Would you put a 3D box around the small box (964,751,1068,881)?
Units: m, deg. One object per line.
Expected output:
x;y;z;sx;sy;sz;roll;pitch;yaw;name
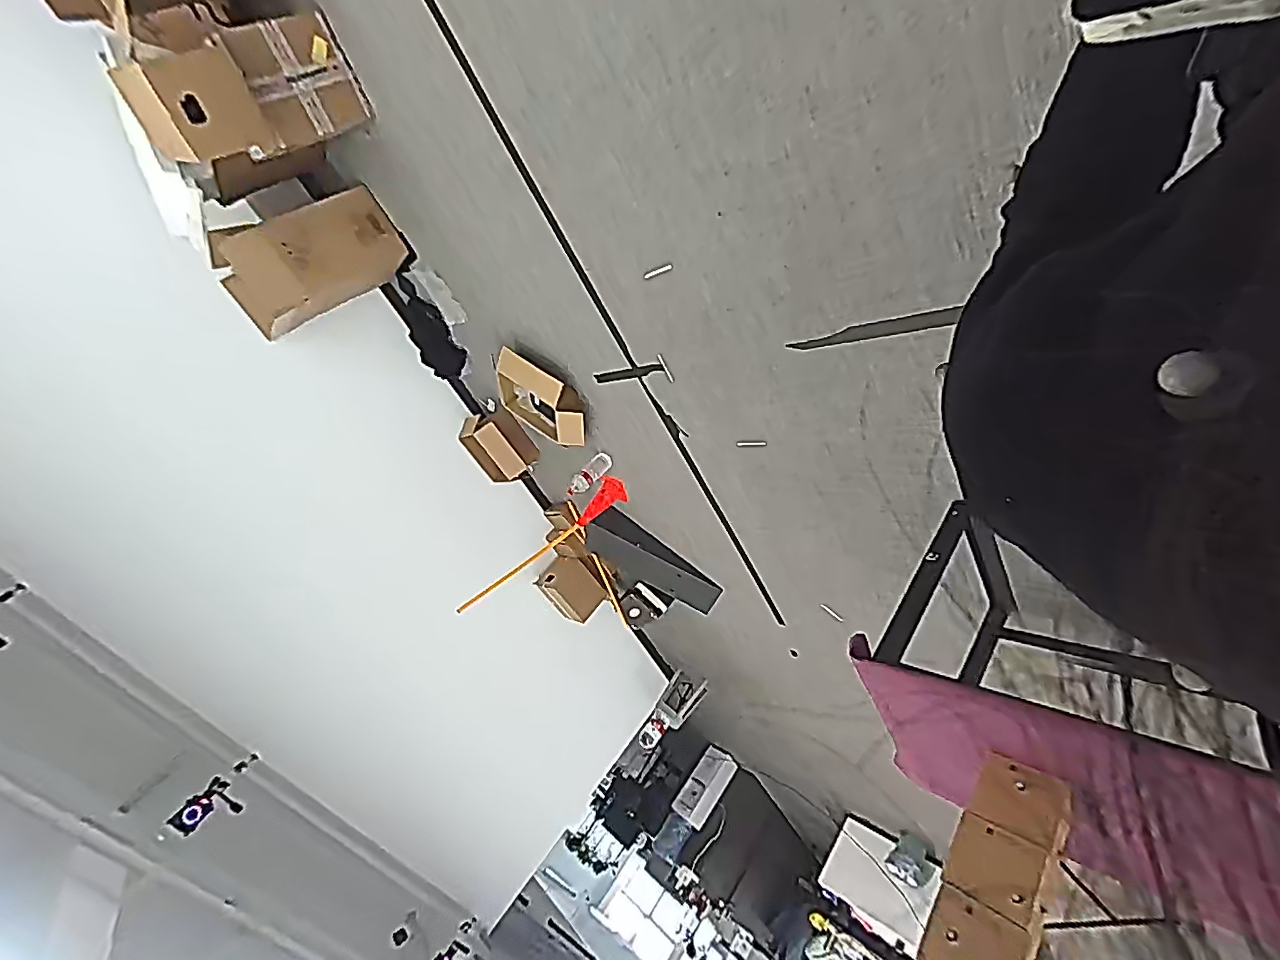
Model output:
0.902;0.794;1.292;0.168;0.176;0.179;9;136;47;small box

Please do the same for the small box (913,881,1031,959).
0.699;0.997;1.135;0.168;0.176;0.179;13;140;47;small box
